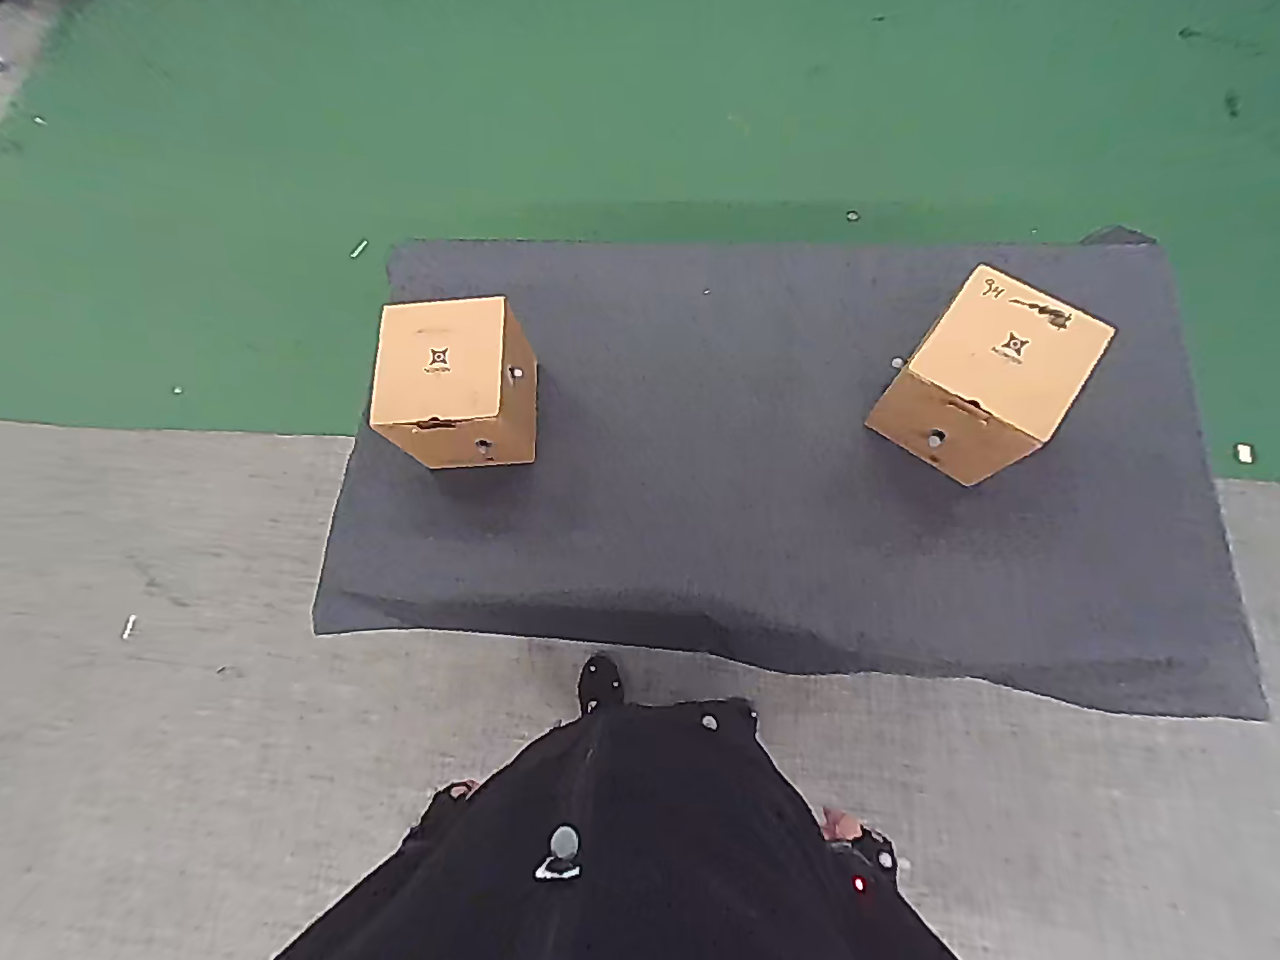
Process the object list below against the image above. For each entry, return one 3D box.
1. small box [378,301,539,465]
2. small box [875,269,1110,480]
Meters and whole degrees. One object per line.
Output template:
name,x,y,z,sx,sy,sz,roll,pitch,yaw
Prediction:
small box,-0.242,-0.125,0.767,0.168,0.176,0.179,-4,72,2
small box,0.433,-0.124,0.702,0.168,0.176,0.179,35,81,14
